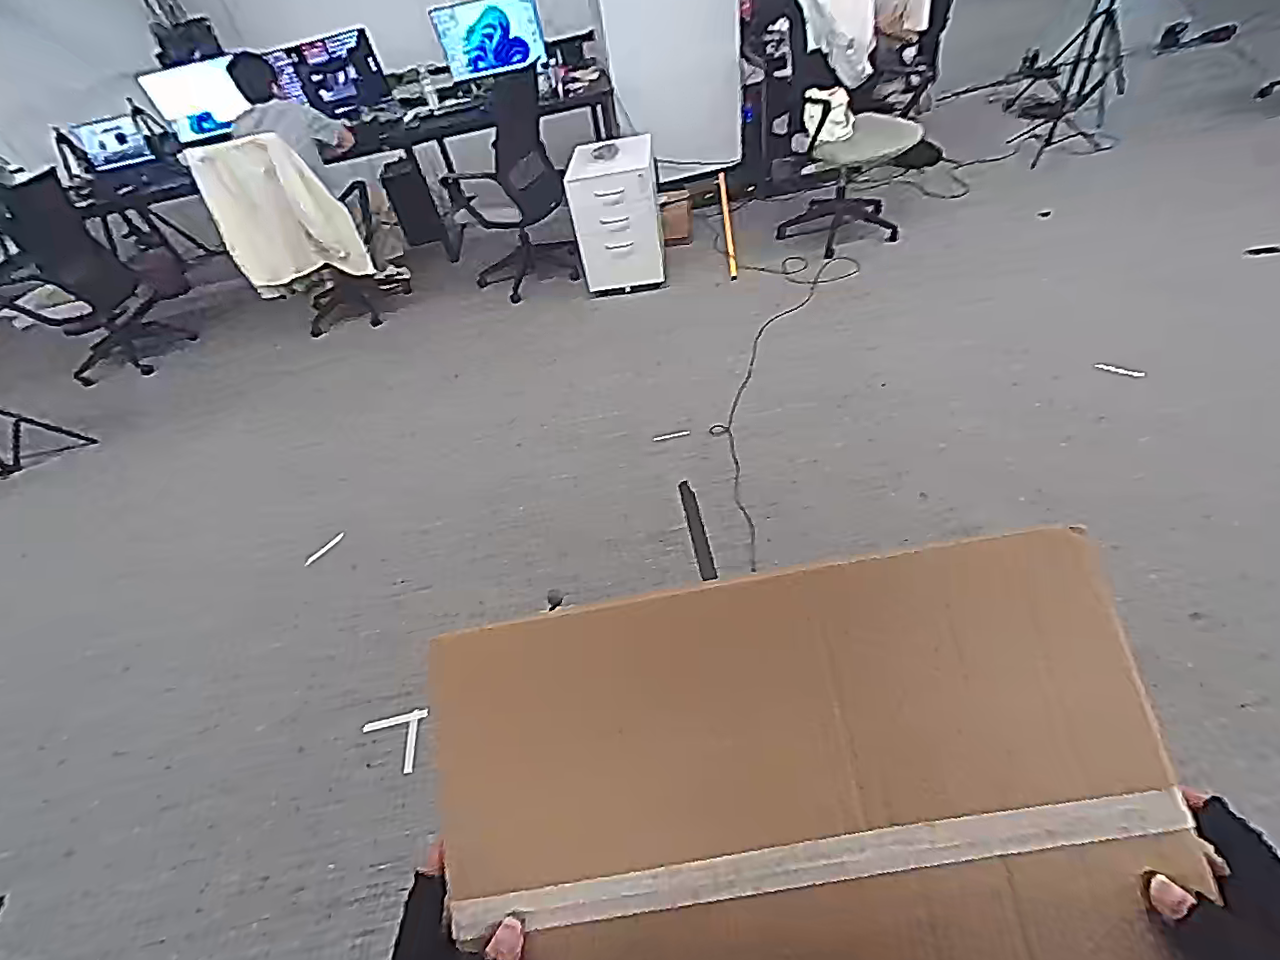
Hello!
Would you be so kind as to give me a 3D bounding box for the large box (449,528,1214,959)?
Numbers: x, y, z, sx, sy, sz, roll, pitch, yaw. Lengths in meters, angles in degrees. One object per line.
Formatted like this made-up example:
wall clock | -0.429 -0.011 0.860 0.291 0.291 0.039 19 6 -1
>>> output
large box | 0.107 0.244 0.457 0.408 0.320 0.320 -11 79 3
